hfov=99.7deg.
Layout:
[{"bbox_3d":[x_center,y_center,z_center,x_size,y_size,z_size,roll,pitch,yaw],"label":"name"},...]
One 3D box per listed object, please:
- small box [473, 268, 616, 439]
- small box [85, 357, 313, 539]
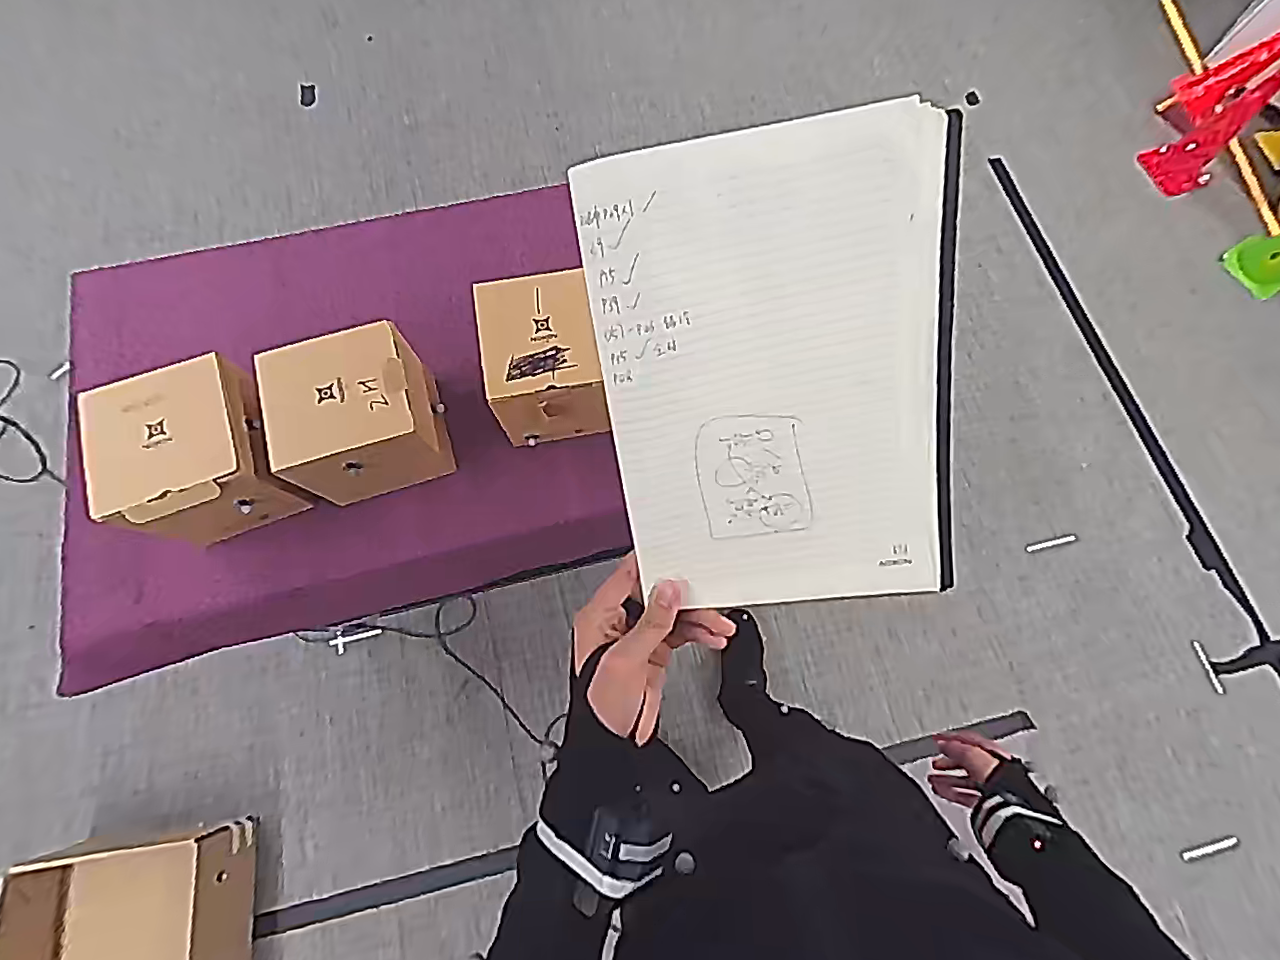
[{"bbox_3d":[-0.128,-0.170,0.779,0.168,0.176,0.179,-10,73,-4],"label":"small box"},{"bbox_3d":[-0.579,-0.030,0.731,0.168,0.176,0.179,-21,75,-8],"label":"small box"}]
